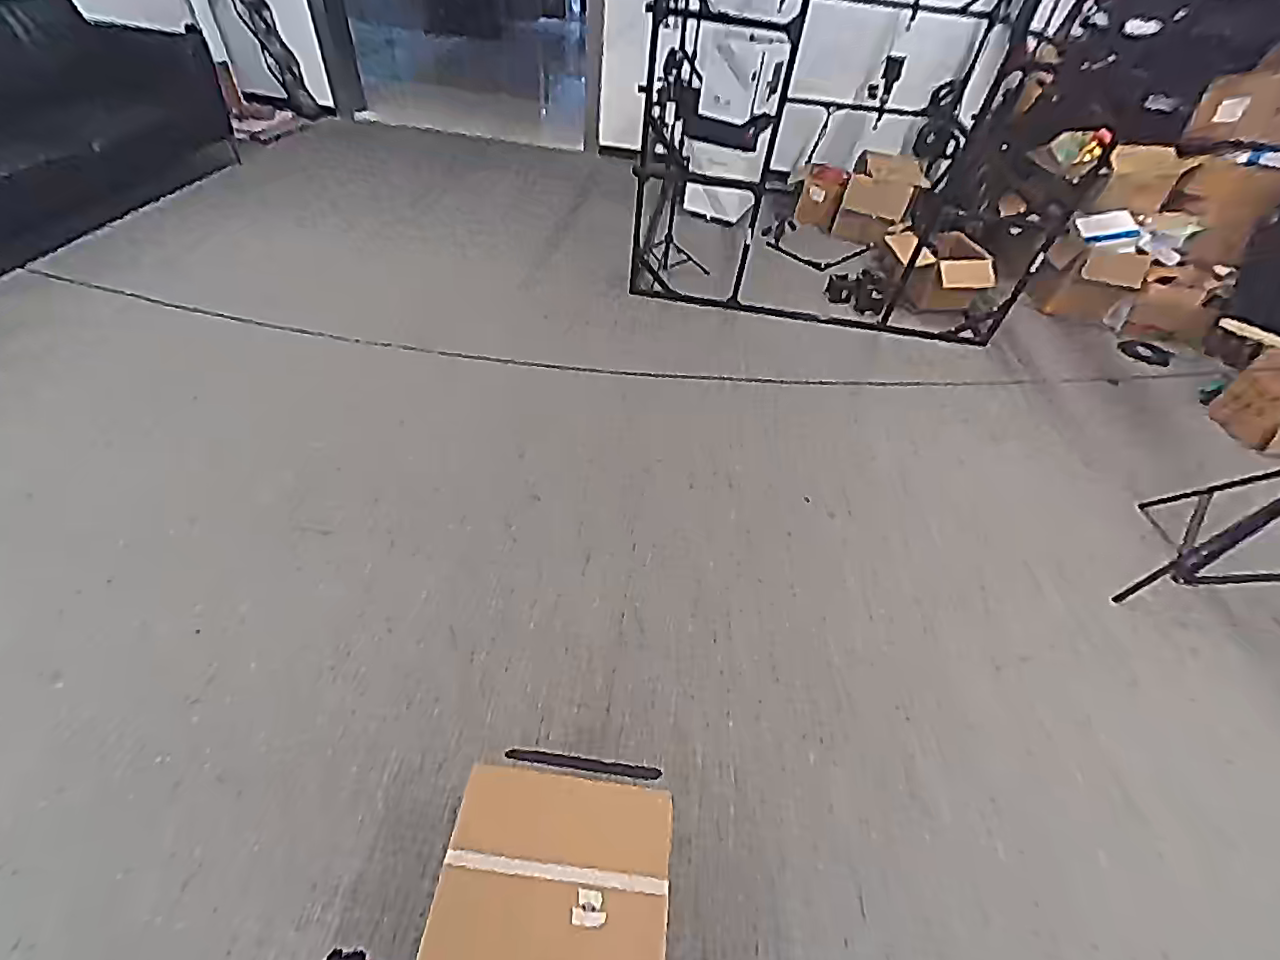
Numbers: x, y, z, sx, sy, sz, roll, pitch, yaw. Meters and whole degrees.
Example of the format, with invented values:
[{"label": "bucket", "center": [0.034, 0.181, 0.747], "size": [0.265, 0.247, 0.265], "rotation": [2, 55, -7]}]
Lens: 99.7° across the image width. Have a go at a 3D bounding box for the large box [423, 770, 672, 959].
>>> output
[{"label": "large box", "center": [-0.163, 0.816, 1.077], "size": [0.408, 0.320, 0.320], "rotation": [9, 46, 0]}]
